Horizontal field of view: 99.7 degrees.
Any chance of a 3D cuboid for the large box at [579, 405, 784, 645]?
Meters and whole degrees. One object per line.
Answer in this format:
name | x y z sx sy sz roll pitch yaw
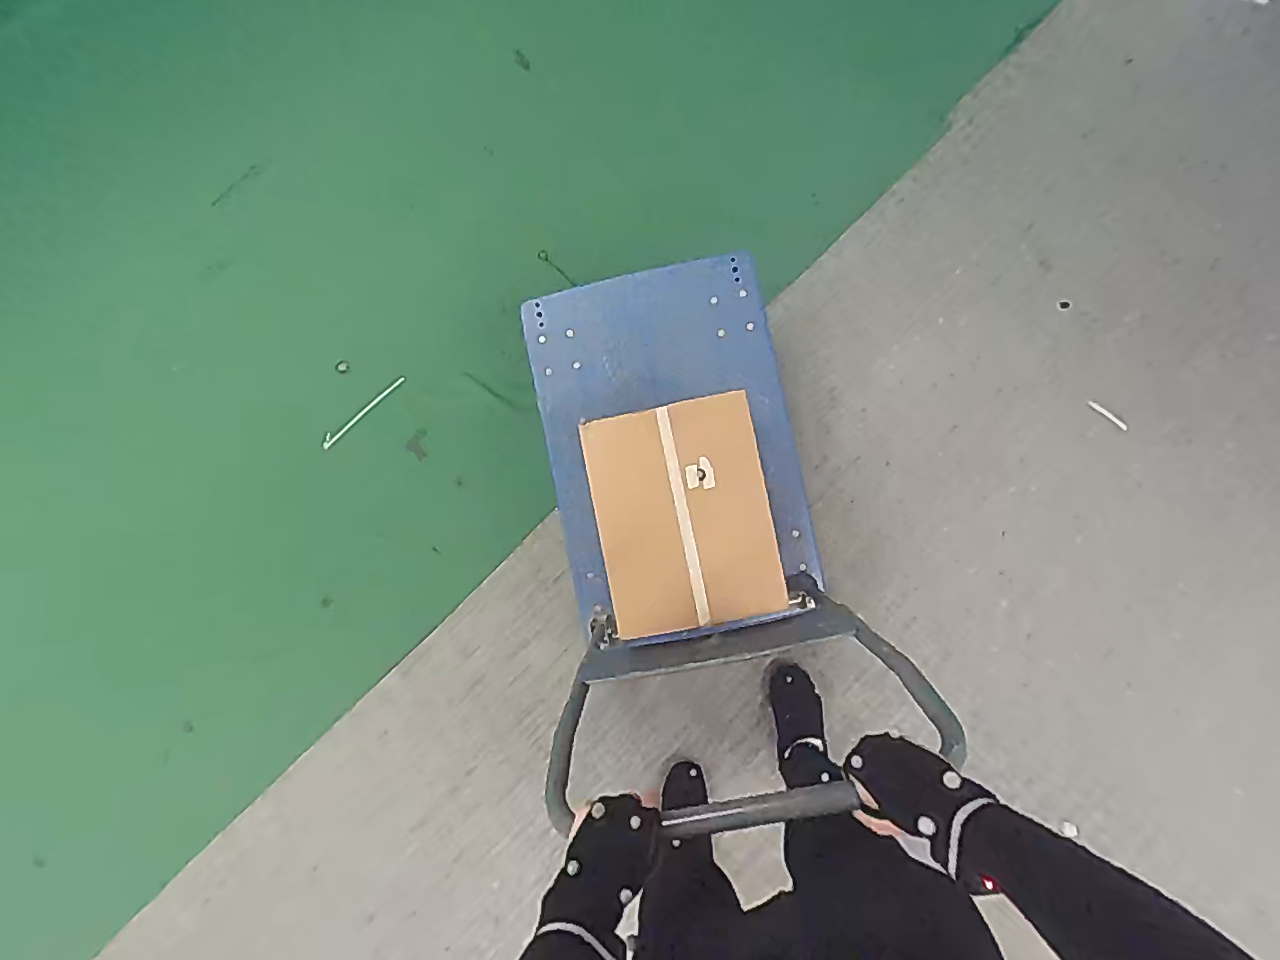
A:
large box | 0.086 0.089 1.144 0.320 0.320 0.408 -11 87 3
